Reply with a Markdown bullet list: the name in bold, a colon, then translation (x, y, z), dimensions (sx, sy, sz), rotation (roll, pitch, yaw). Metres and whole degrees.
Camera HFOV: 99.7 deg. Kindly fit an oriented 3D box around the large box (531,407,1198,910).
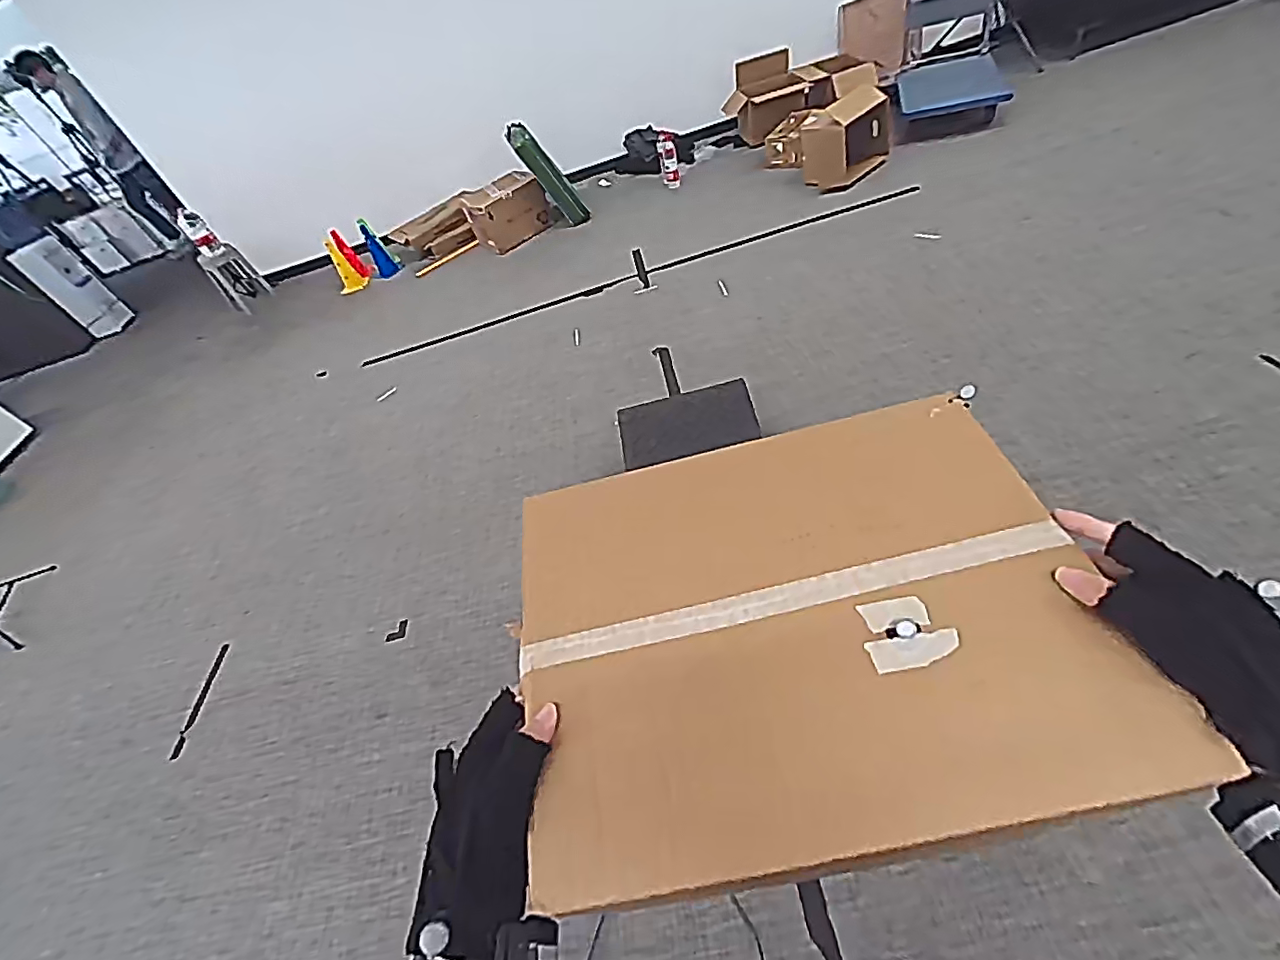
- **large box**: translation (0.138, 0.187, 0.529), dimensions (0.408, 0.320, 0.320), rotation (-14, 51, 3)
